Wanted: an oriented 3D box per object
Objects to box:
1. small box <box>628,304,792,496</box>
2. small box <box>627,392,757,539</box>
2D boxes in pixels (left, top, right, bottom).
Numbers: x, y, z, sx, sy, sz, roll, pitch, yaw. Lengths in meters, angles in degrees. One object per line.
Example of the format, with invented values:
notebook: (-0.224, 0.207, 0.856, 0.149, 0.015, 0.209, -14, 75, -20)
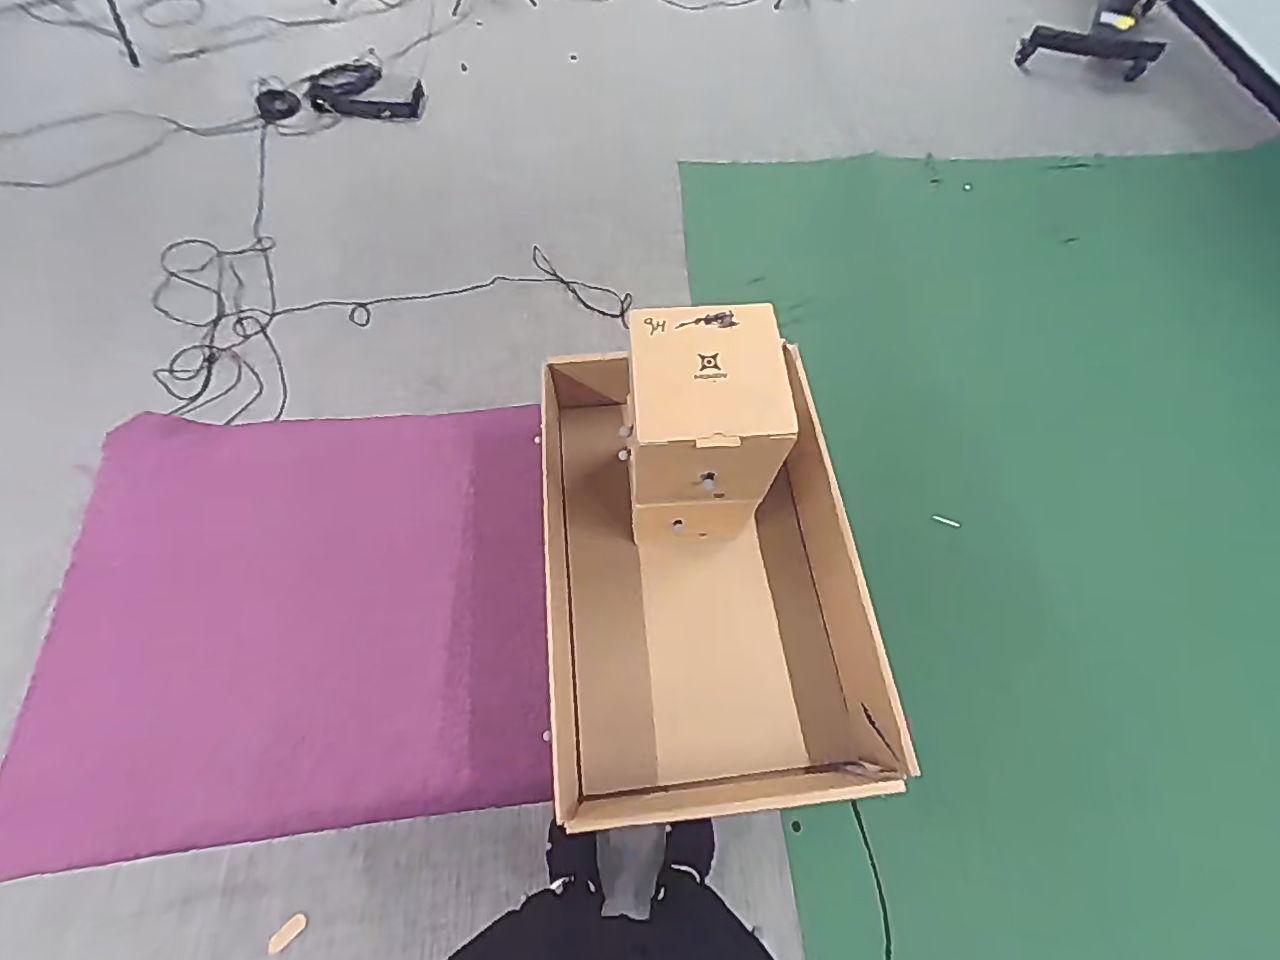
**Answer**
small box: (0.071, -0.085, 0.651, 0.168, 0.176, 0.179, -2, 67, -2)
small box: (0.068, -0.017, 0.800, 0.168, 0.176, 0.179, -3, 66, -1)
